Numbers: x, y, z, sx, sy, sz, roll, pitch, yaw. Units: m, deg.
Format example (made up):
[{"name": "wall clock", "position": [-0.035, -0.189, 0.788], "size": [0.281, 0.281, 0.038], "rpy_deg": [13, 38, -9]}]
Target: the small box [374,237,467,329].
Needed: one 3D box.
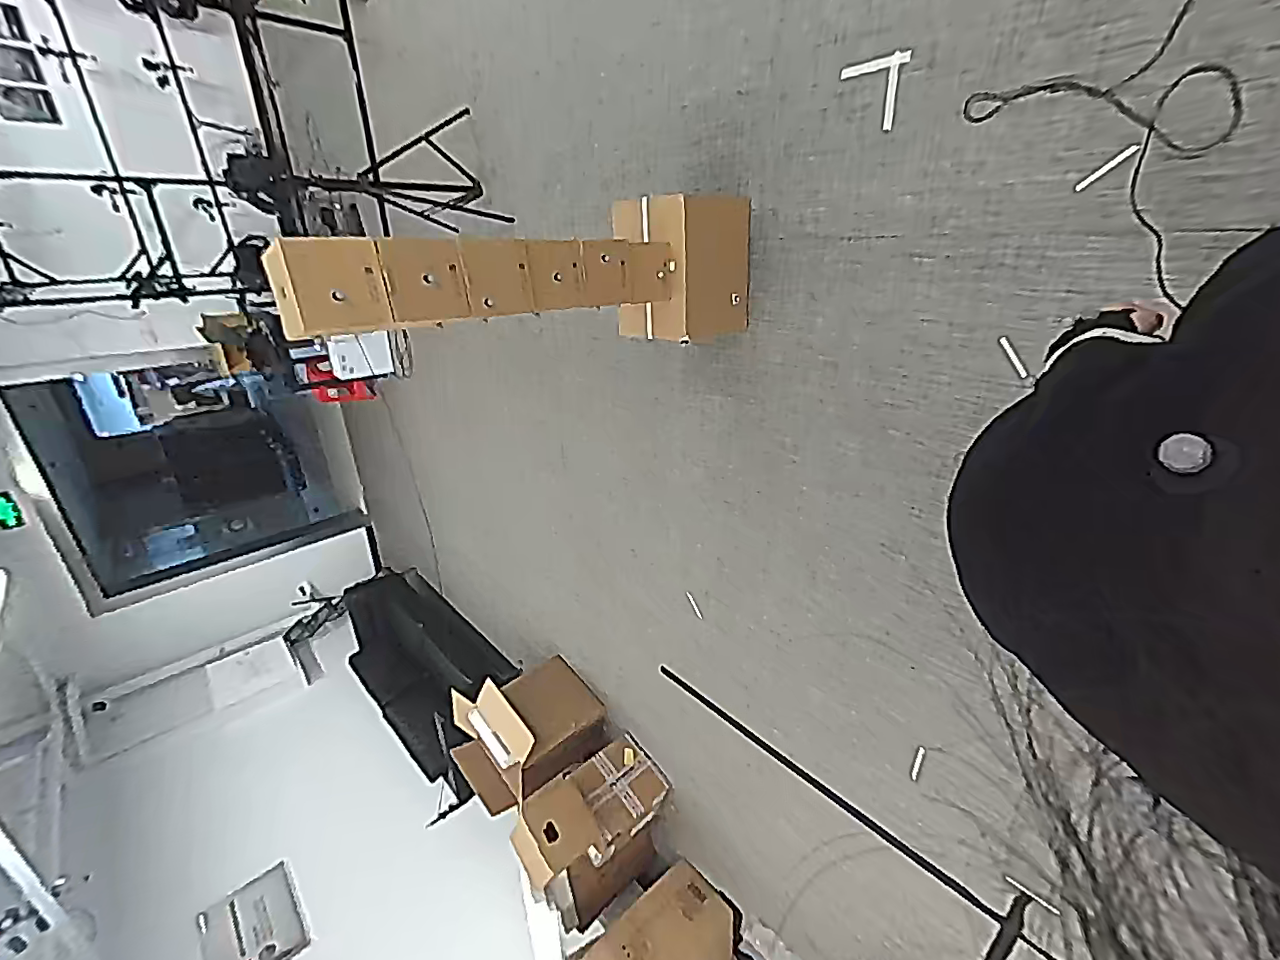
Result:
[{"name": "small box", "position": [-0.495, -0.429, 1.183], "size": [0.179, 0.176, 0.168], "rpy_deg": [8, 112, 46]}]

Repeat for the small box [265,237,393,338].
[{"name": "small box", "position": [-0.615, -0.384, 1.083], "size": [0.179, 0.176, 0.168], "rpy_deg": [8, 112, 48]}]

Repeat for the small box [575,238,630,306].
[{"name": "small box", "position": [-0.138, -0.573, 1.490], "size": [0.179, 0.176, 0.168], "rpy_deg": [19, 119, 45]}]

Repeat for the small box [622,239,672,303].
[{"name": "small box", "position": [-0.024, -0.617, 1.597], "size": [0.179, 0.176, 0.168], "rpy_deg": [19, 121, 43]}]

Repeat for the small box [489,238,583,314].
[{"name": "small box", "position": [-0.259, -0.523, 1.392], "size": [0.179, 0.176, 0.168], "rpy_deg": [13, 115, 45]}]
